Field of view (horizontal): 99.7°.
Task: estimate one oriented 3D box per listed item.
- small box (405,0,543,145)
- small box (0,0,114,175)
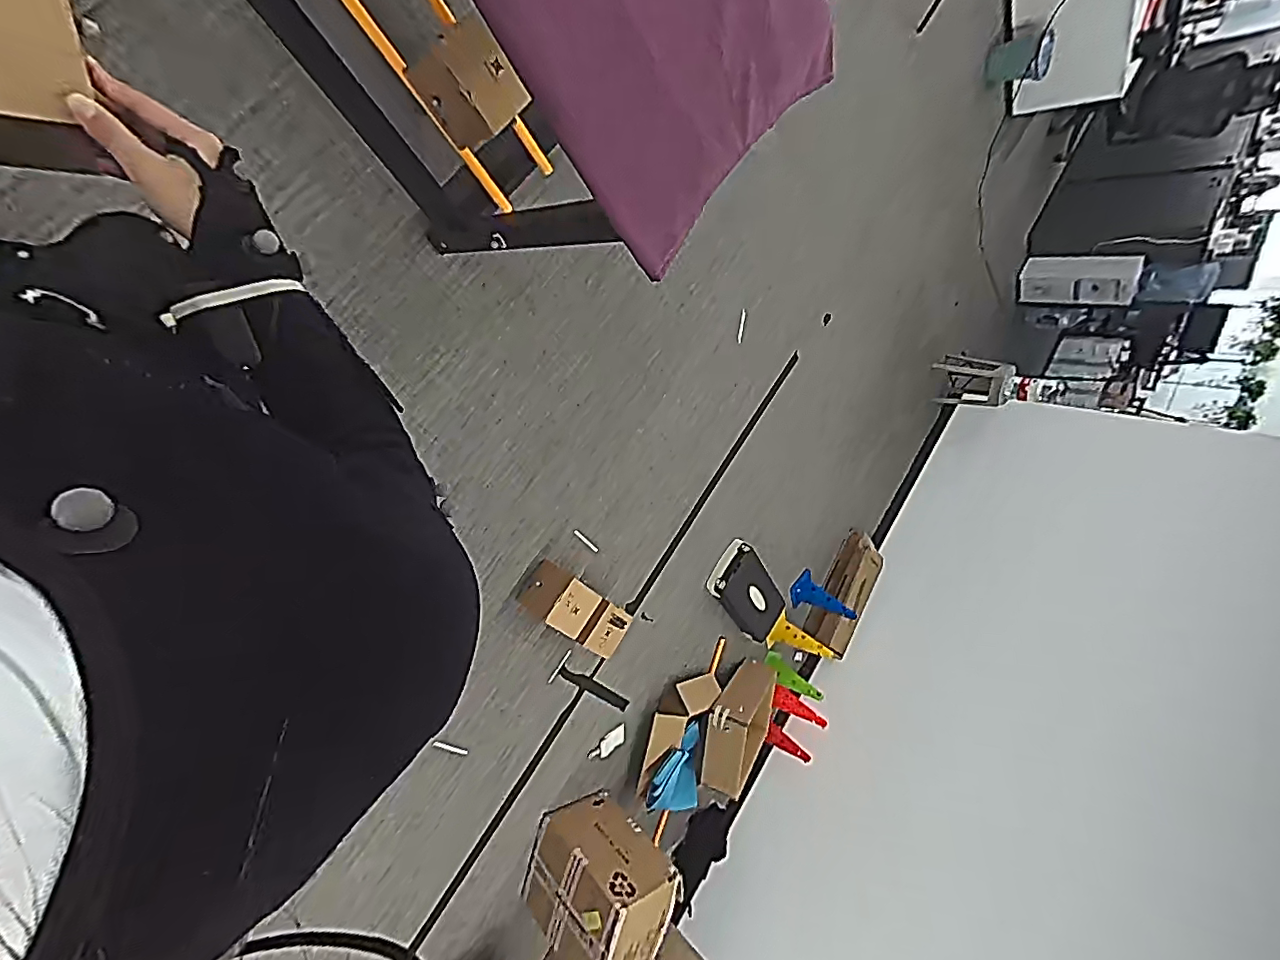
[{"bbox_3d":[-0.337,-0.816,1.091,0.179,0.176,0.168,-54,135,-14],"label":"small box"},{"bbox_3d":[-0.455,-0.307,0.325,0.168,0.176,0.179,-17,114,-41],"label":"small box"}]
